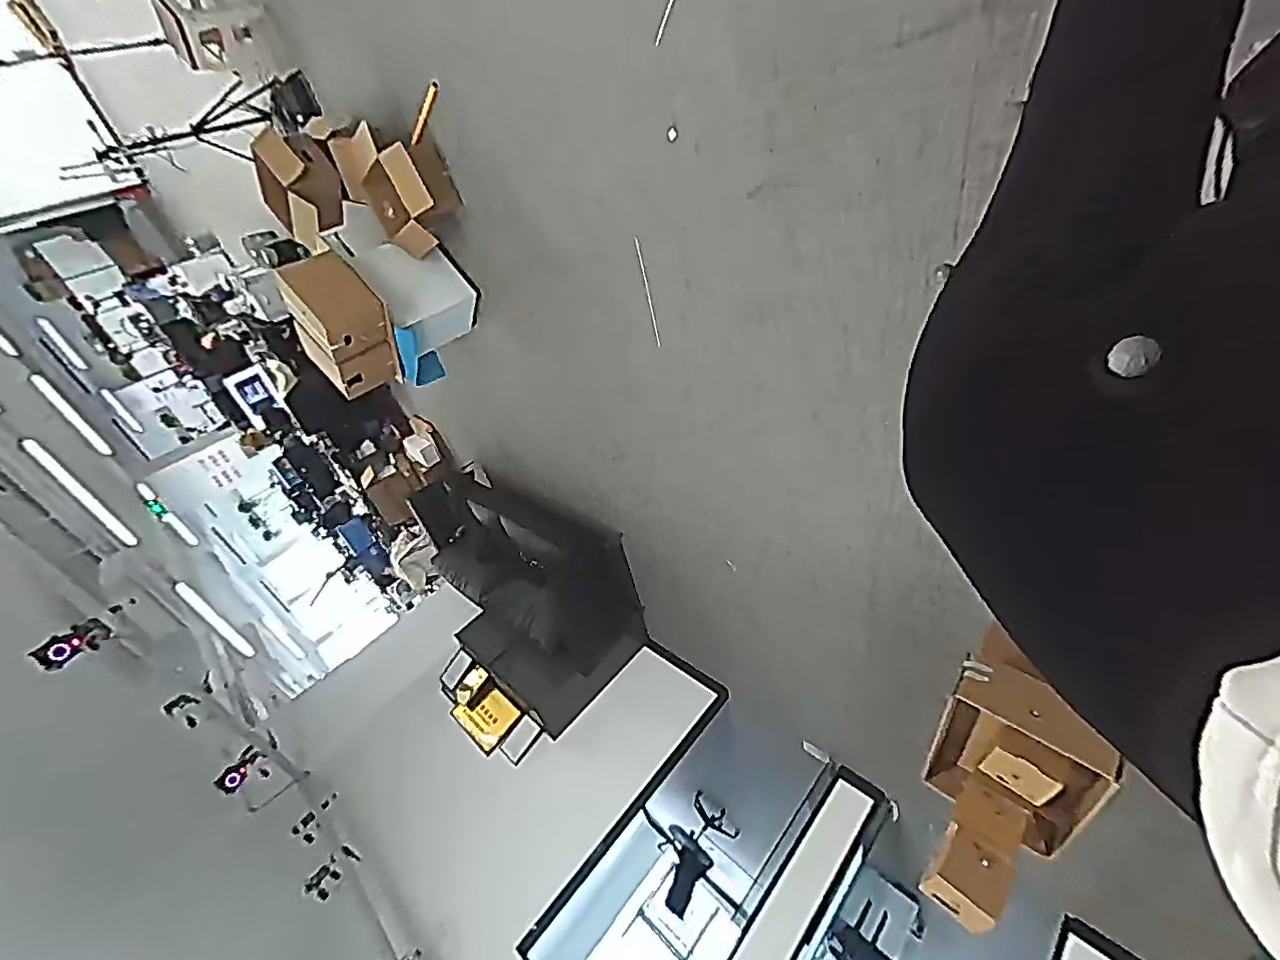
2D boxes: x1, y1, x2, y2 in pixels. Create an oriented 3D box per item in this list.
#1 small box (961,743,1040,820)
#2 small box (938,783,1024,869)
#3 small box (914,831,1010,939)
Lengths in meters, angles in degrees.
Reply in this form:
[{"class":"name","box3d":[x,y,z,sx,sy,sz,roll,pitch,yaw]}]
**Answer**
[{"class":"small box","box3d":[1.147,0.991,1.731,0.168,0.176,0.179,24,139,38]},{"class":"small box","box3d":[1.037,1.074,1.646,0.168,0.176,0.179,24,138,39]},{"class":"small box","box3d":[0.929,1.164,1.561,0.168,0.176,0.179,31,142,32]}]
